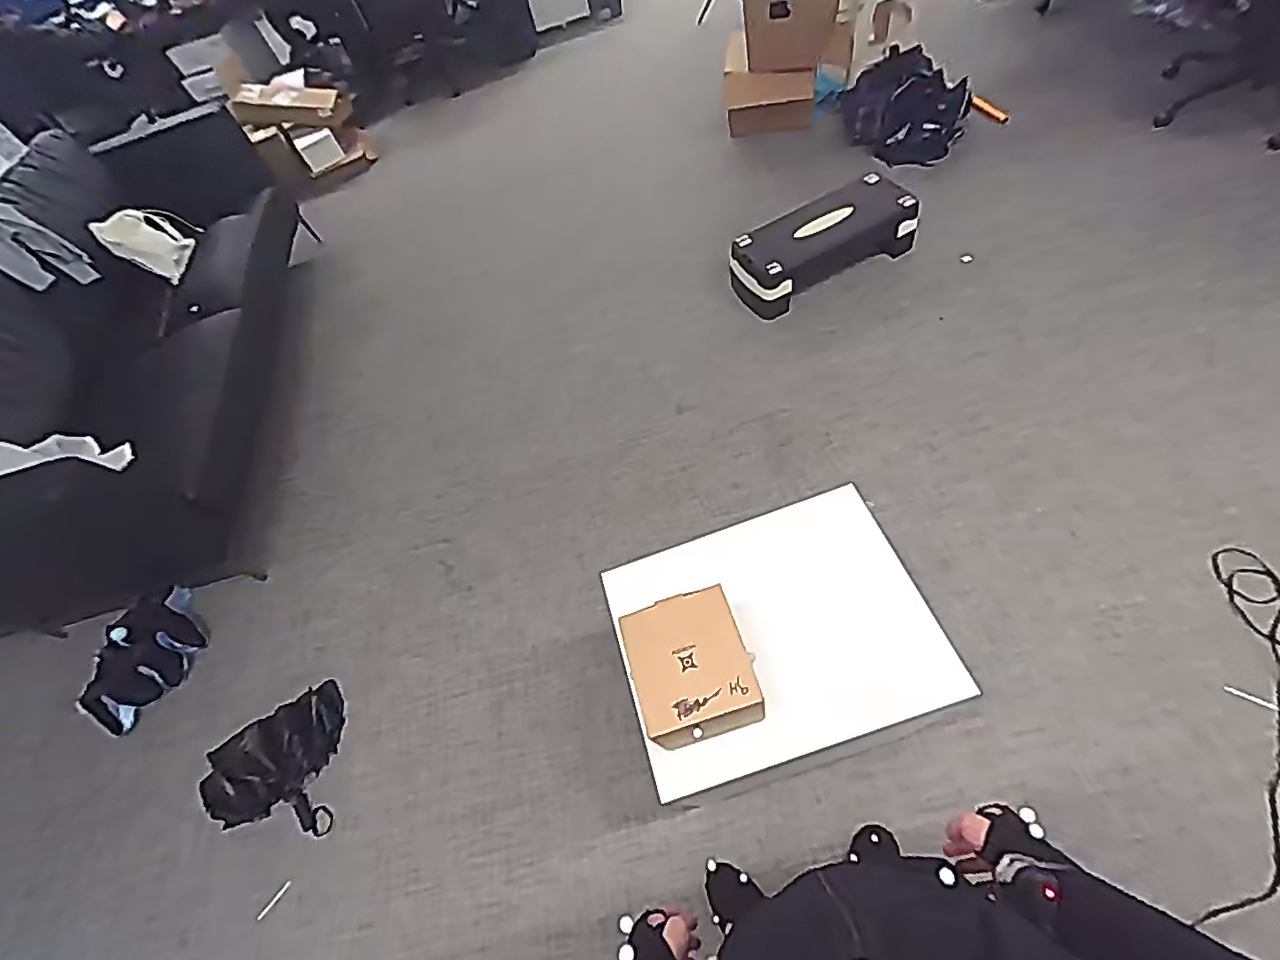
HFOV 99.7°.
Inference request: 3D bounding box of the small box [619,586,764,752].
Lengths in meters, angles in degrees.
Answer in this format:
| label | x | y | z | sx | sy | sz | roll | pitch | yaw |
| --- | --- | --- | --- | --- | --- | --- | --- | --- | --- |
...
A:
| label | x | y | z | sx | sy | sz | roll | pitch | yaw |
| --- | --- | --- | --- | --- | --- | --- | --- | --- | --- |
| small box | 0.080 | 0.293 | 0.827 | 0.168 | 0.176 | 0.179 | -20 | 55 | 1 |
